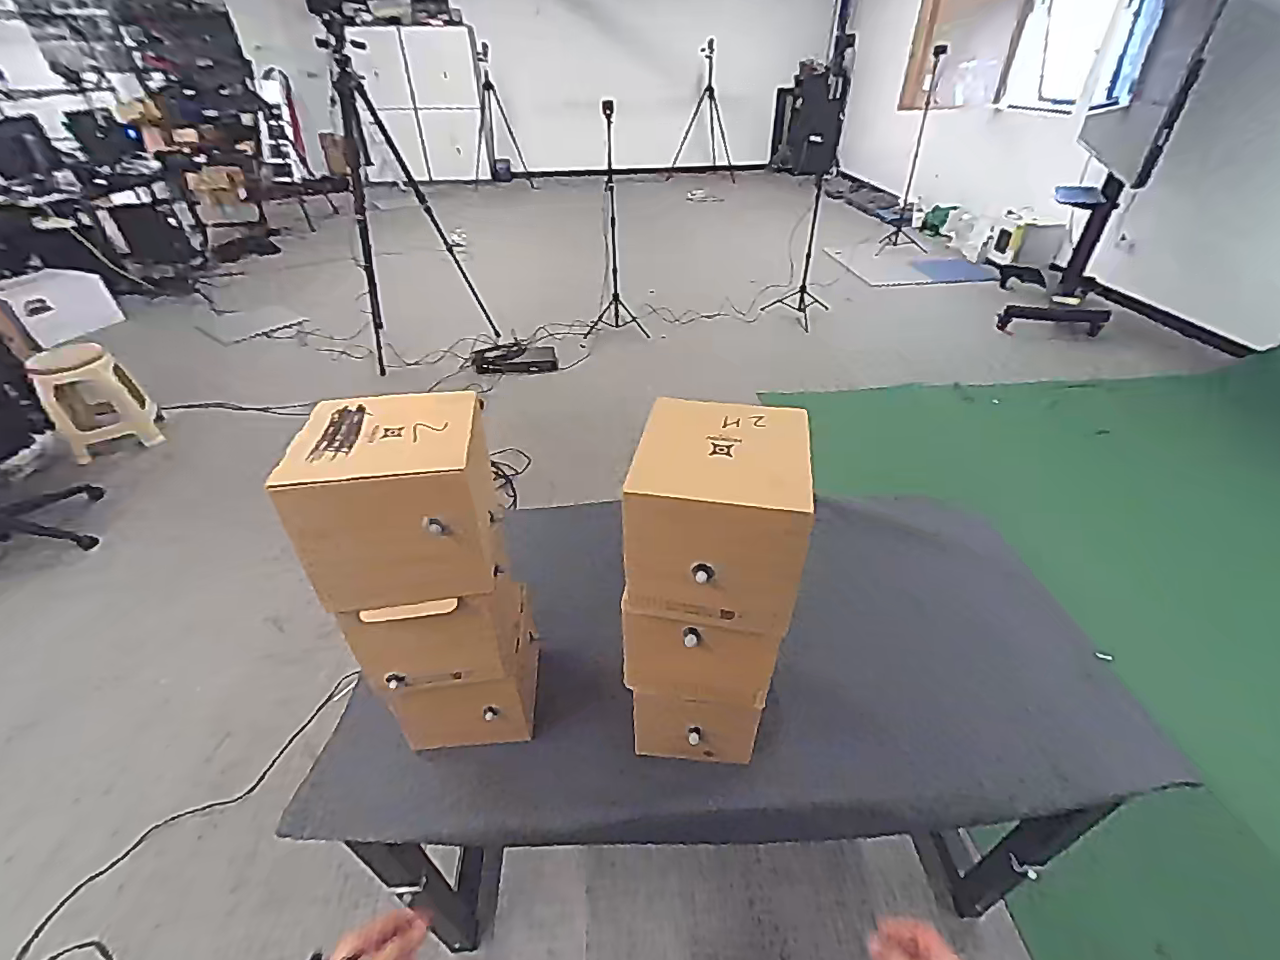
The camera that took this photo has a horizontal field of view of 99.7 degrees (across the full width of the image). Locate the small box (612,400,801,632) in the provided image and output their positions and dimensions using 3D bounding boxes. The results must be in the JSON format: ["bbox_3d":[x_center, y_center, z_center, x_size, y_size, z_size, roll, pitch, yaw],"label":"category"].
[{"bbox_3d":[0.075,0.035,0.570,0.168,0.176,0.179,6,38,10],"label":"small box"}]

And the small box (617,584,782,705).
[{"bbox_3d":[0.077,0.158,0.680,0.179,0.176,0.168,4,37,9],"label":"small box"}]

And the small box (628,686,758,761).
[{"bbox_3d":[0.077,0.283,0.786,0.168,0.176,0.179,1,38,5],"label":"small box"}]

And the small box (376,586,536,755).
[{"bbox_3d":[-0.255,0.282,0.803,0.179,0.176,0.168,-5,36,-3],"label":"small box"}]

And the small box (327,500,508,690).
[{"bbox_3d":[-0.268,0.152,0.702,0.168,0.176,0.179,-6,35,-7],"label":"small box"}]
